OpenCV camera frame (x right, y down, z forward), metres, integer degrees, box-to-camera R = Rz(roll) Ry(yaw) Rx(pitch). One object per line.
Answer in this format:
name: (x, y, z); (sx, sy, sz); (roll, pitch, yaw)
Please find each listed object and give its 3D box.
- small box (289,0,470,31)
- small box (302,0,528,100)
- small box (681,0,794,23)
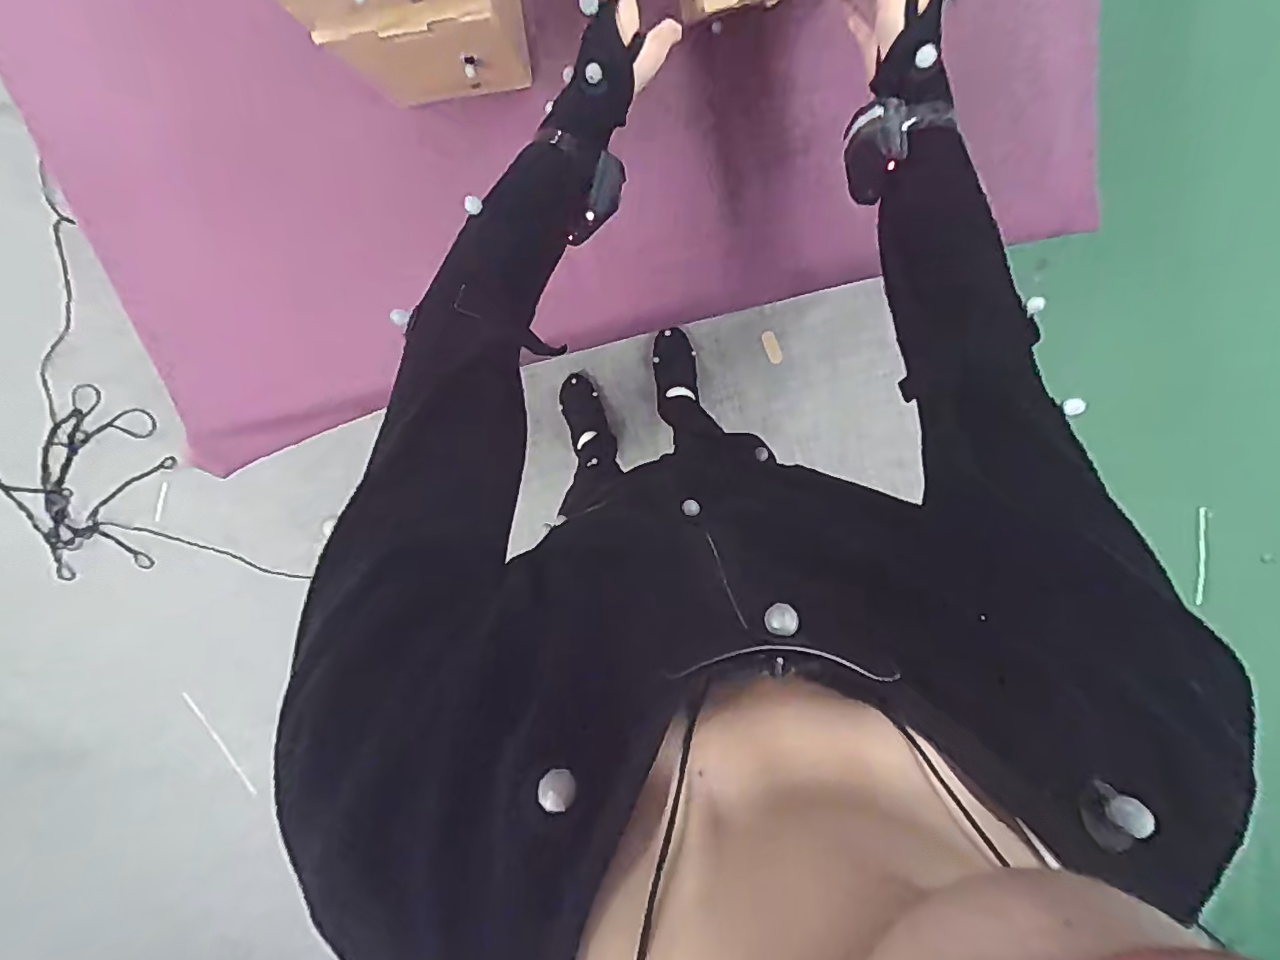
small box: (-0.222, -0.458, 0.365); (0.168, 0.176, 0.179); (-9, 108, 3)
small box: (-0.215, -0.496, 0.522); (0.168, 0.176, 0.179); (-5, 107, 3)
small box: (0.112, -0.529, 0.473); (0.168, 0.176, 0.179); (-11, 127, 5)
